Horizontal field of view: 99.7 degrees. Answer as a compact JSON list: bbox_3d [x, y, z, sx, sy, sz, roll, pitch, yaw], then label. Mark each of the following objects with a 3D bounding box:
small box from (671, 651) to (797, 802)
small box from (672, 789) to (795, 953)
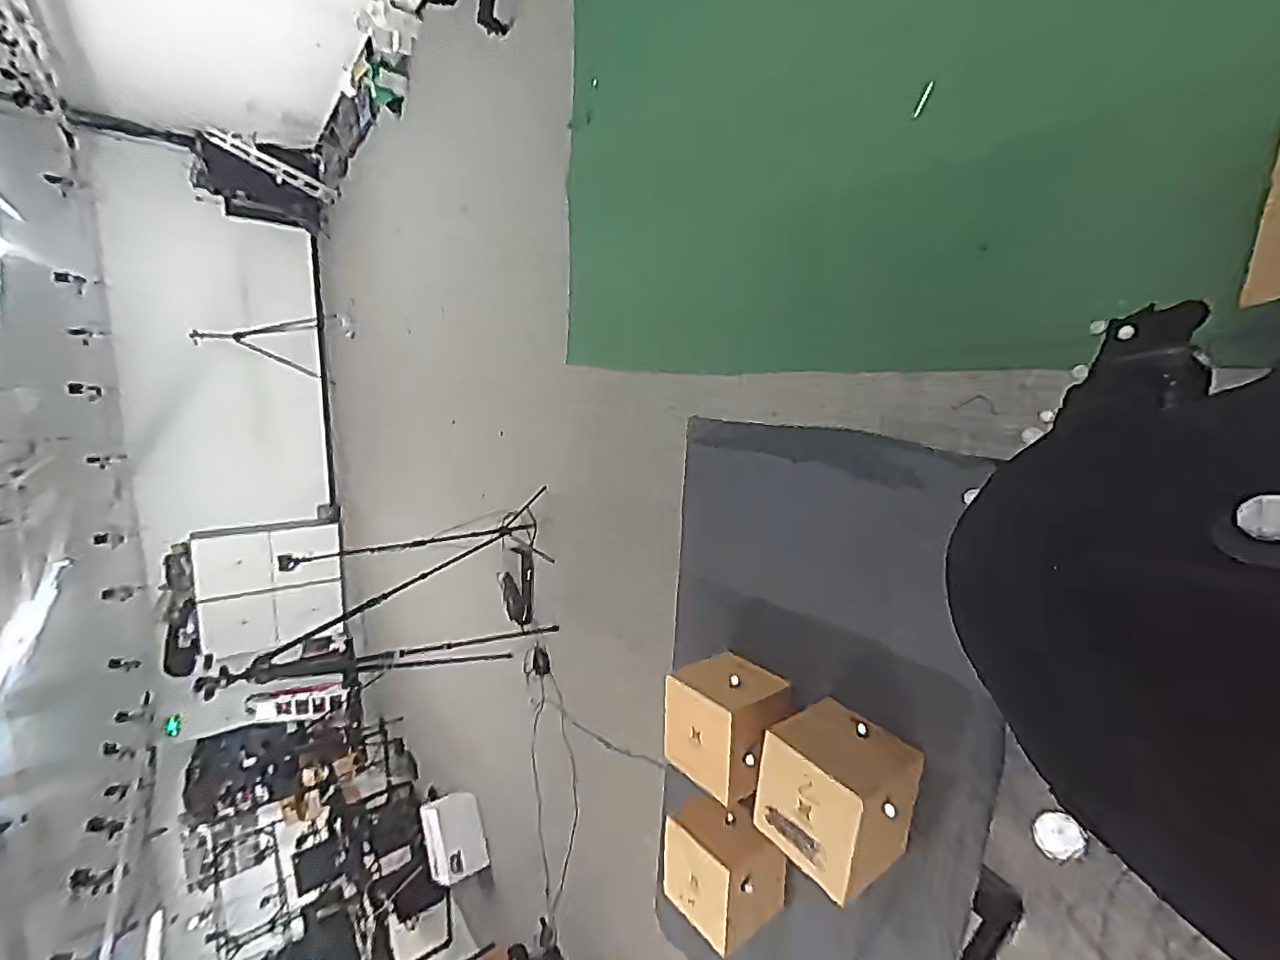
[{"bbox_3d":[0.176,0.443,1.009,0.168,0.176,0.179,10,104,51],"label":"small box"},{"bbox_3d":[0.180,0.727,1.041,0.168,0.176,0.179,12,105,51],"label":"small box"}]
